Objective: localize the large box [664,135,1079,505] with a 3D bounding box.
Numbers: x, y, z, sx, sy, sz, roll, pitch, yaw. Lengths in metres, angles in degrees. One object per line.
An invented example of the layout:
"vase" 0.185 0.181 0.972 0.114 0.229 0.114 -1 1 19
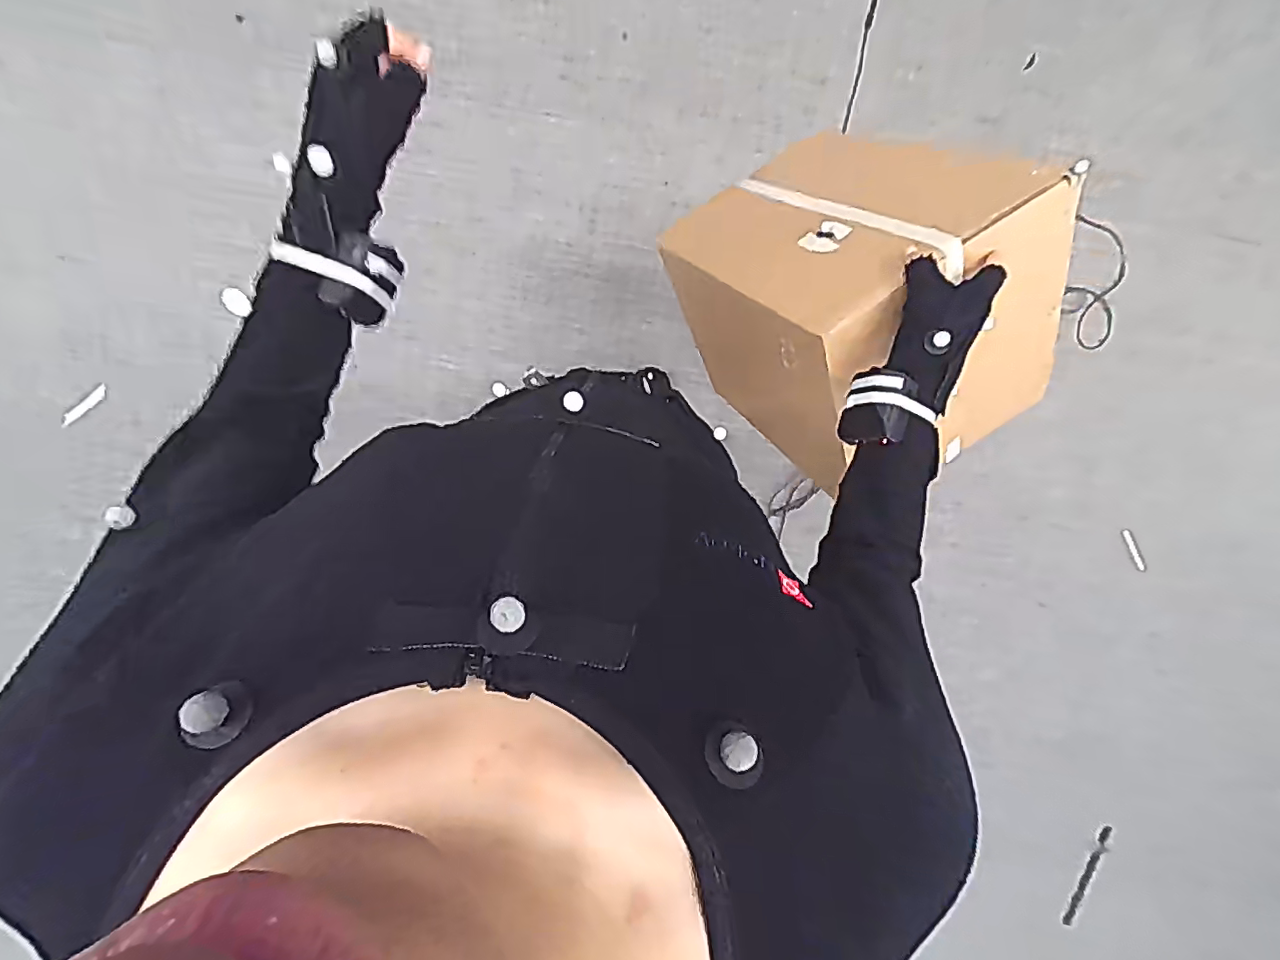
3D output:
"large box" 0.293 -0.244 0.784 0.320 0.408 0.320 -33 134 -1
